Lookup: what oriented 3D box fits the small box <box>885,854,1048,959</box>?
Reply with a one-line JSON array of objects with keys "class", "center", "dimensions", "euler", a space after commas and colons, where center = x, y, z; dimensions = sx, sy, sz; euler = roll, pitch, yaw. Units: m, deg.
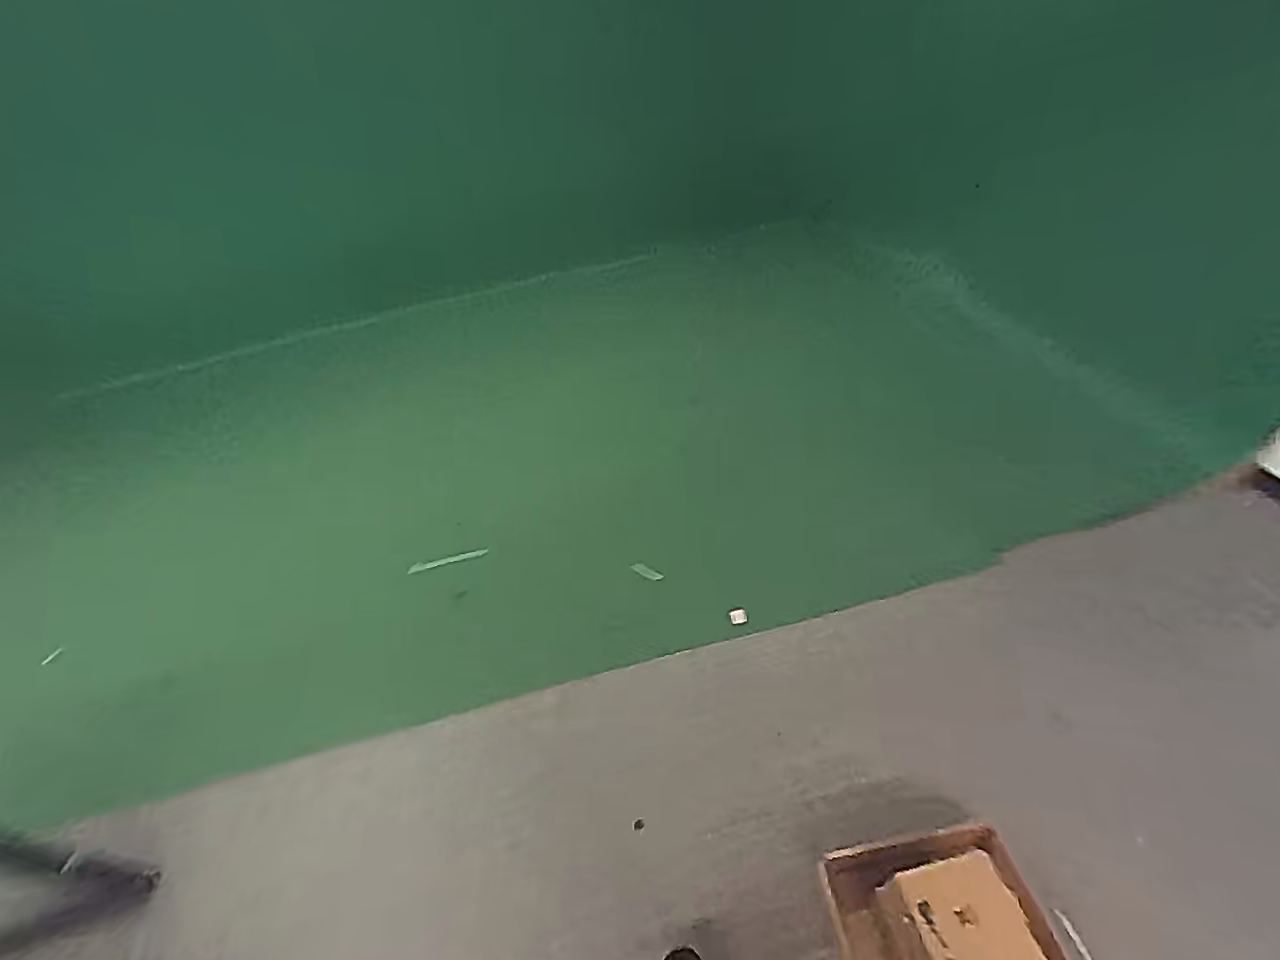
[{"class": "small box", "center": [0.572, 0.802, 0.970], "dimensions": [0.179, 0.176, 0.168], "euler": [-12, 42, -2]}]
